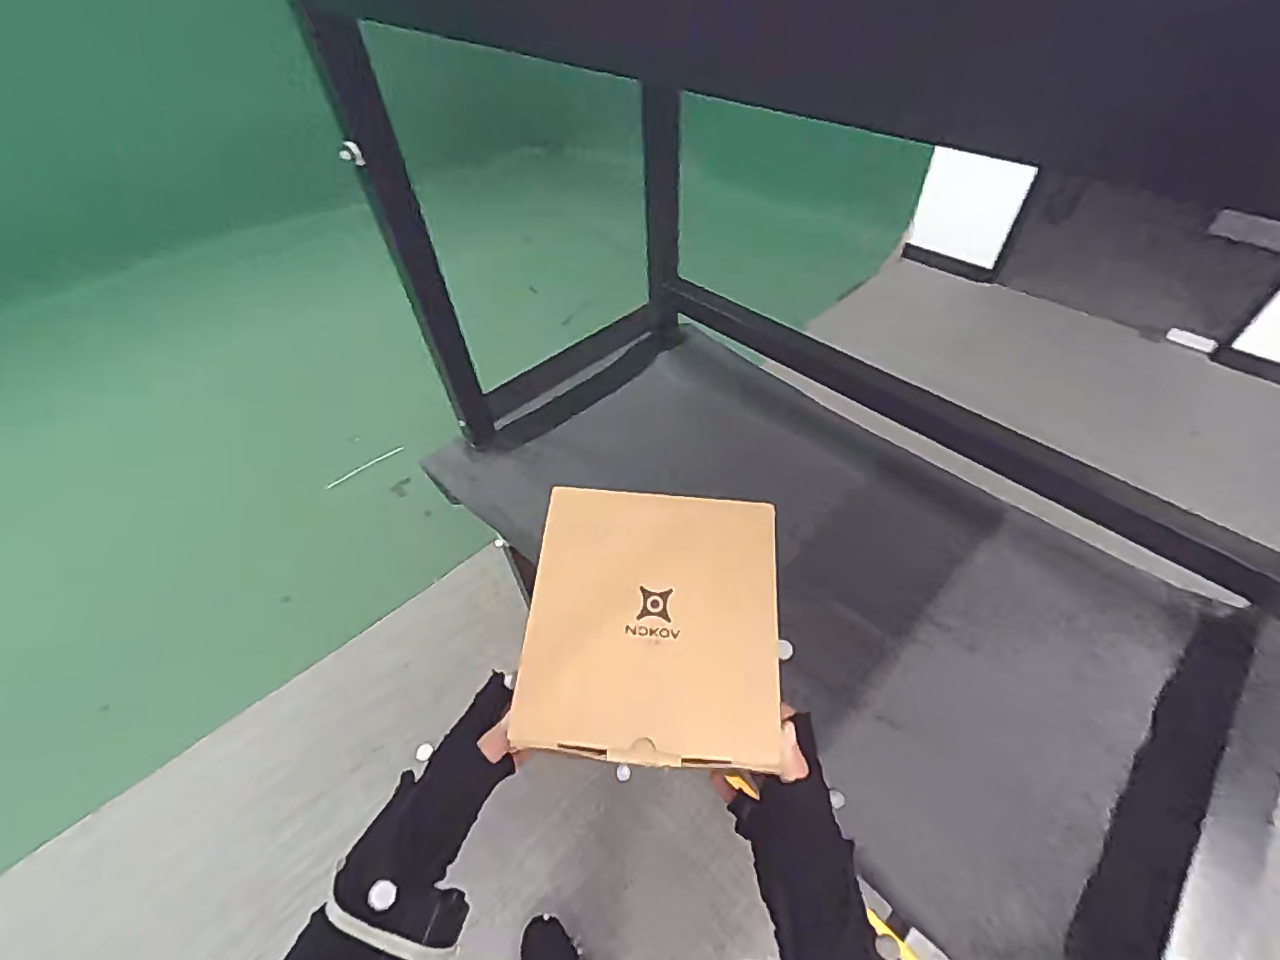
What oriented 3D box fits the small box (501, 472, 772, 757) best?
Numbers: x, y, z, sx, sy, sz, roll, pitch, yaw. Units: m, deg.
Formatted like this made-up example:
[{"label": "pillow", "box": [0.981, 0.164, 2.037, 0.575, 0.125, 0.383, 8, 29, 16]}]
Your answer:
[{"label": "small box", "box": [0.003, 0.114, 0.430, 0.168, 0.176, 0.179, 4, 62, 2]}]
